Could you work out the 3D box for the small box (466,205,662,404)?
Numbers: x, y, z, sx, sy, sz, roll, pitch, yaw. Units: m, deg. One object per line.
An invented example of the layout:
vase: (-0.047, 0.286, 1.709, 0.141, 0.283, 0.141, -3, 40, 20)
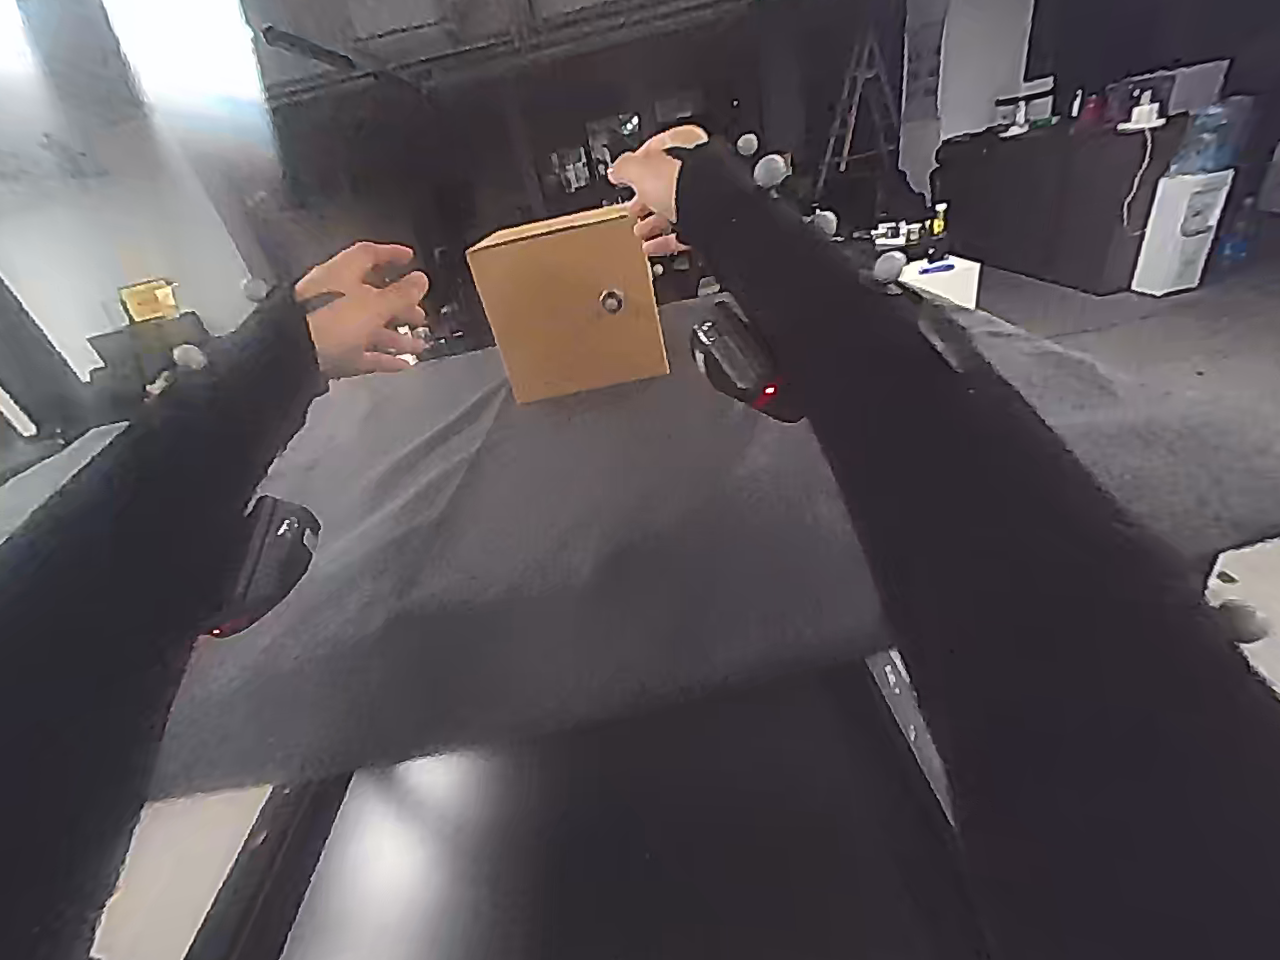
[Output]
small box: (-0.071, -0.205, 0.628, 0.179, 0.176, 0.168, -10, 30, 5)
